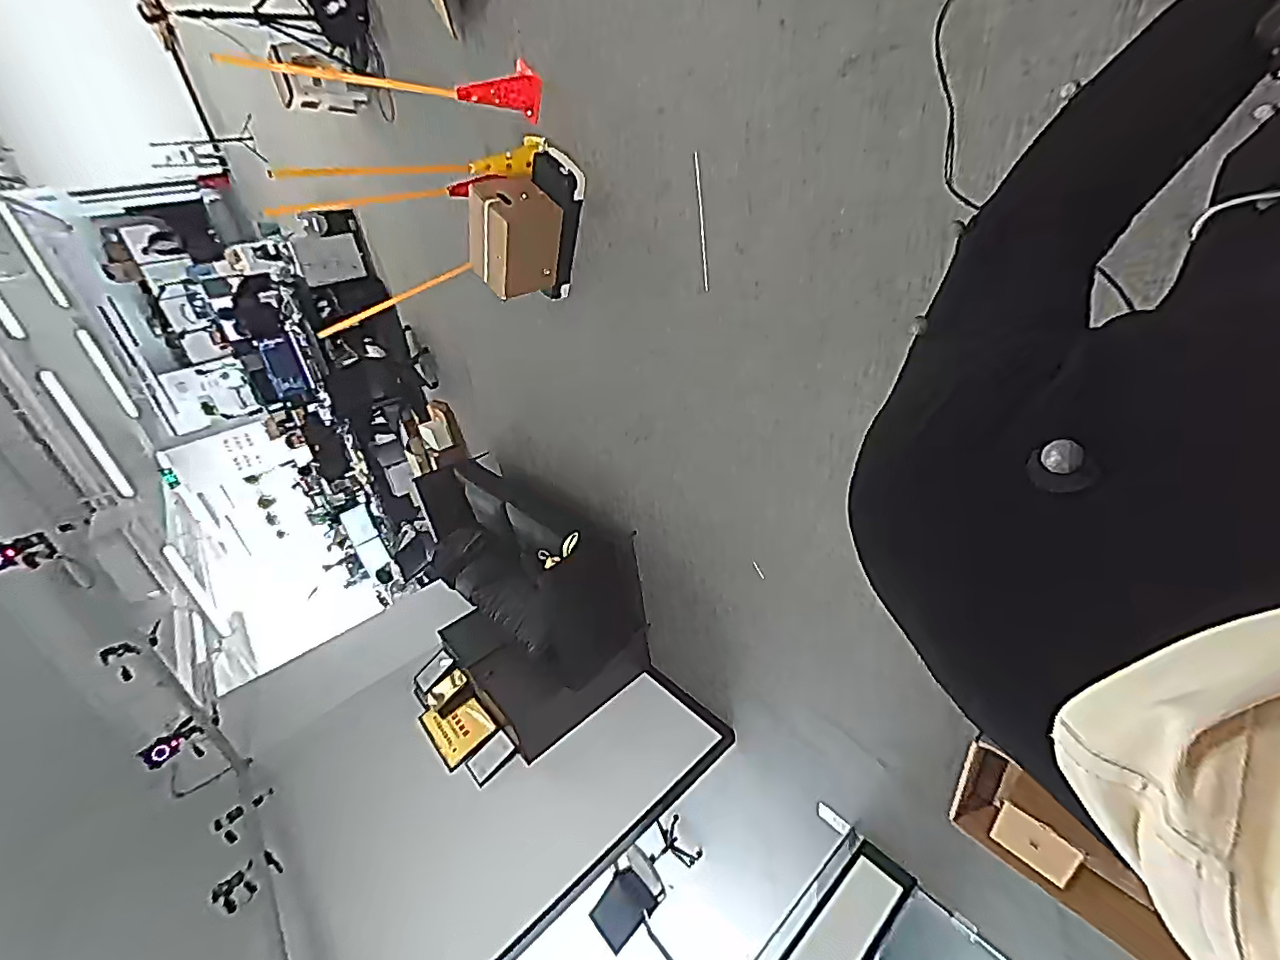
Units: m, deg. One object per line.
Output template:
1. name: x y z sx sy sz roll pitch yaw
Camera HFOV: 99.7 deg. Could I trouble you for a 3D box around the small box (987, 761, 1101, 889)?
1. small box: 1.014 0.859 1.359 0.168 0.176 0.179 28 134 44
